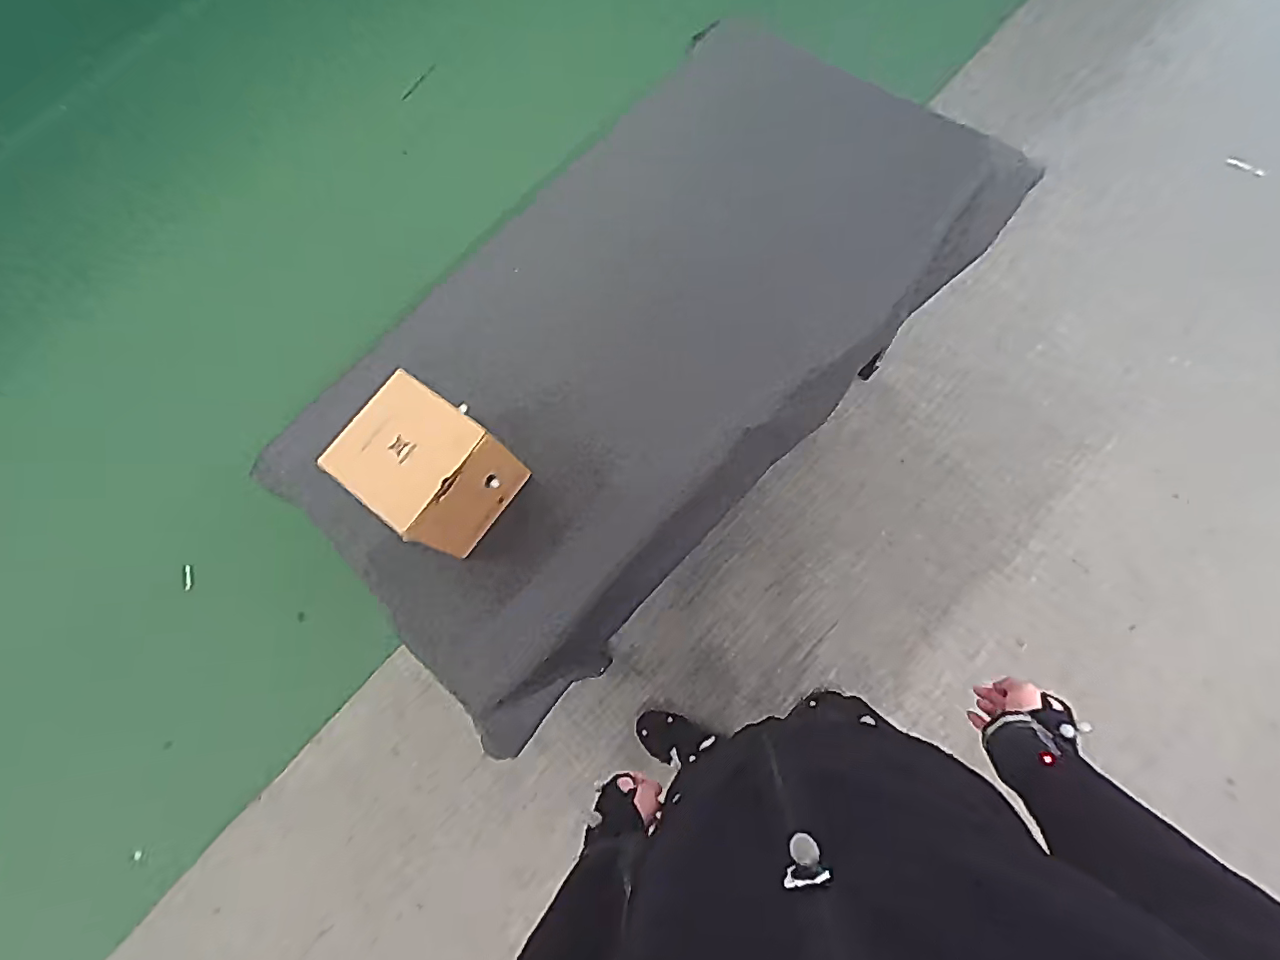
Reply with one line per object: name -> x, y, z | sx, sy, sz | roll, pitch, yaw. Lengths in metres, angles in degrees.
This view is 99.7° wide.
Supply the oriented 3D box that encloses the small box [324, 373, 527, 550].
small box -> -0.293, -0.015, 0.778 | 0.179, 0.176, 0.168 | 33, 78, 18
